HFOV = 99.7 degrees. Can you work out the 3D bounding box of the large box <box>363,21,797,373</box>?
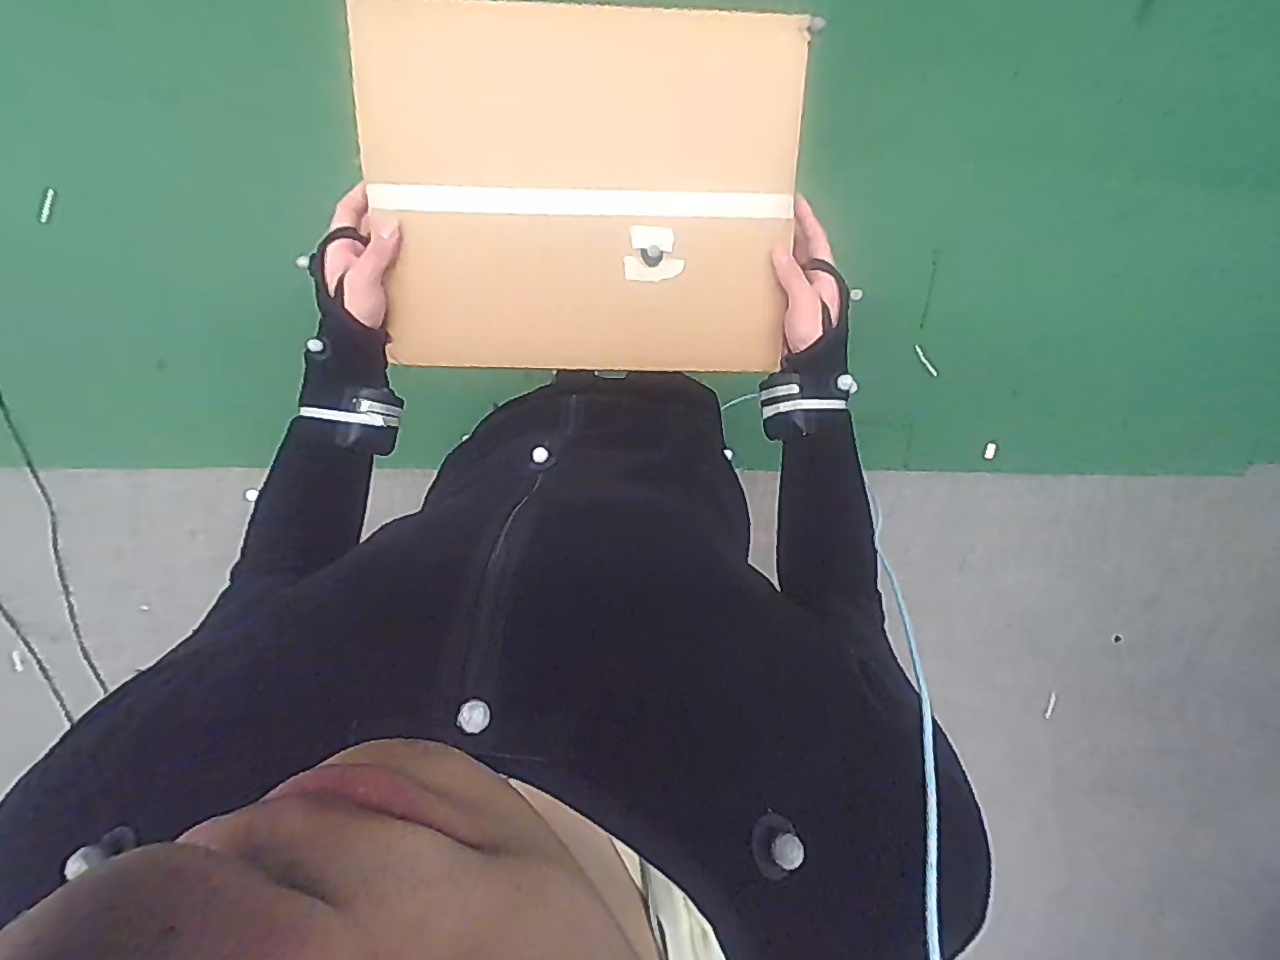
[{"bbox_3d":[-0.061,-0.303,0.675,0.408,0.320,0.320,0,106,-3],"label":"large box"}]
